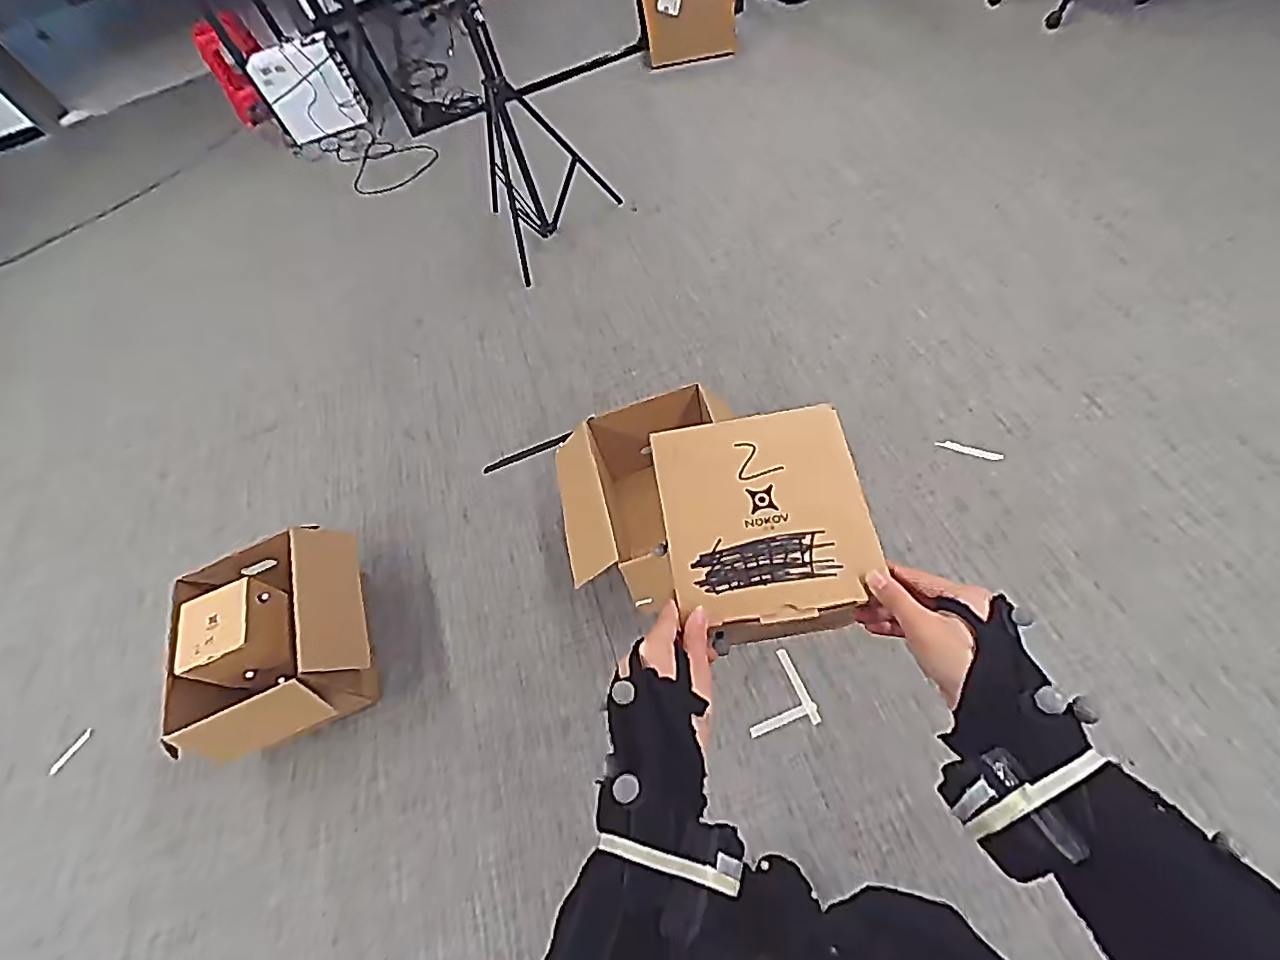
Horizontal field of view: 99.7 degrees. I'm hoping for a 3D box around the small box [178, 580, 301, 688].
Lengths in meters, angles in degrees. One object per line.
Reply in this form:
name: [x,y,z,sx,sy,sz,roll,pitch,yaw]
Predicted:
small box: [-0.941,0.370,1.287,0.168,0.176,0.179,-24,58,-2]
